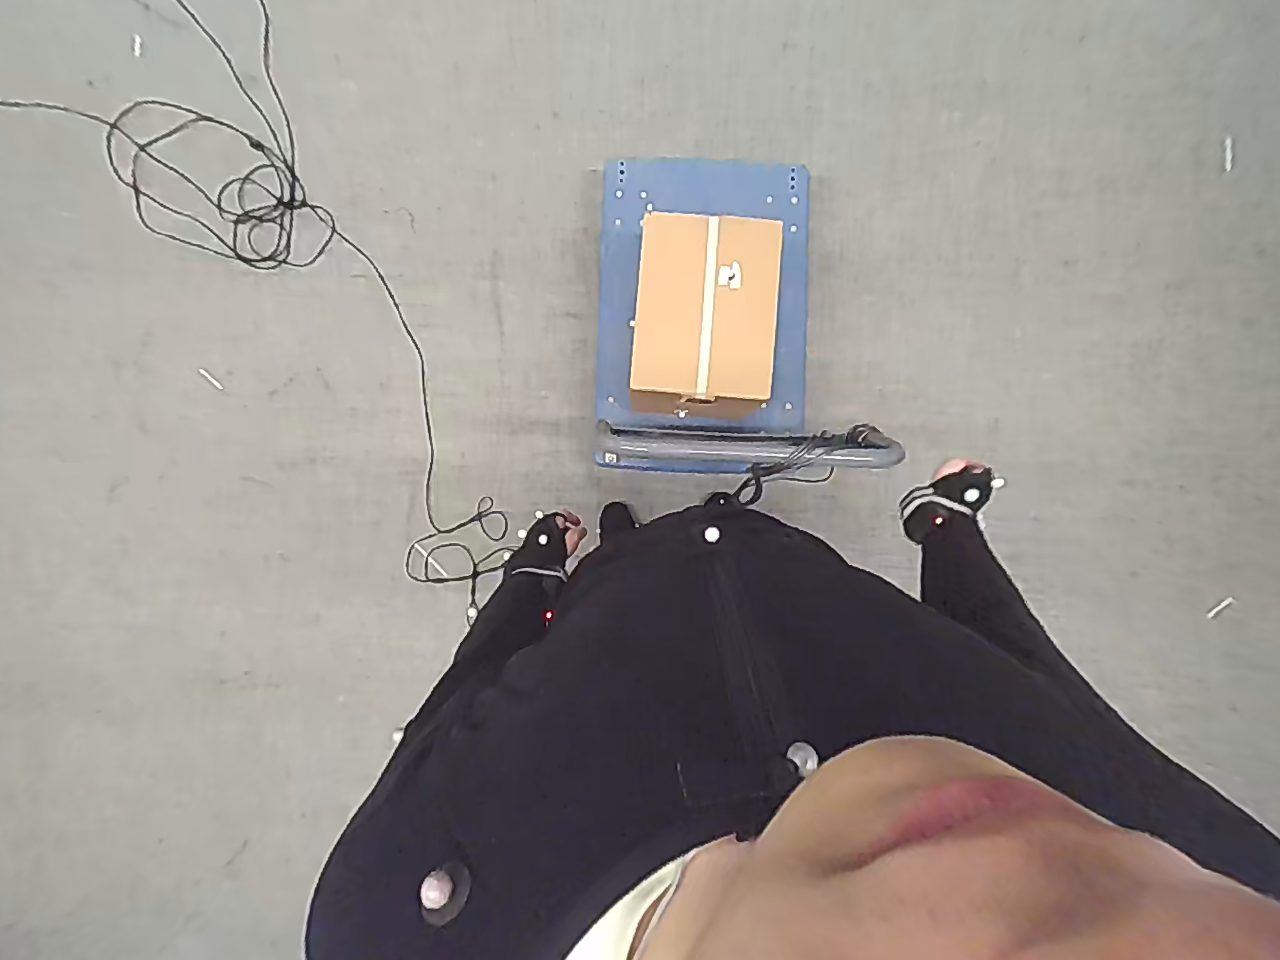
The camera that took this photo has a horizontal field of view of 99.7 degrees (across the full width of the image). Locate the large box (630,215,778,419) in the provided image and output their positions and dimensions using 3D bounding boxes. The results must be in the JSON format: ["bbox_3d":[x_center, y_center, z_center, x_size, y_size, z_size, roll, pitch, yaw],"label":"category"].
[{"bbox_3d":[0.145,-0.379,1.348,0.320,0.320,0.408,5,87,0],"label":"large box"}]
